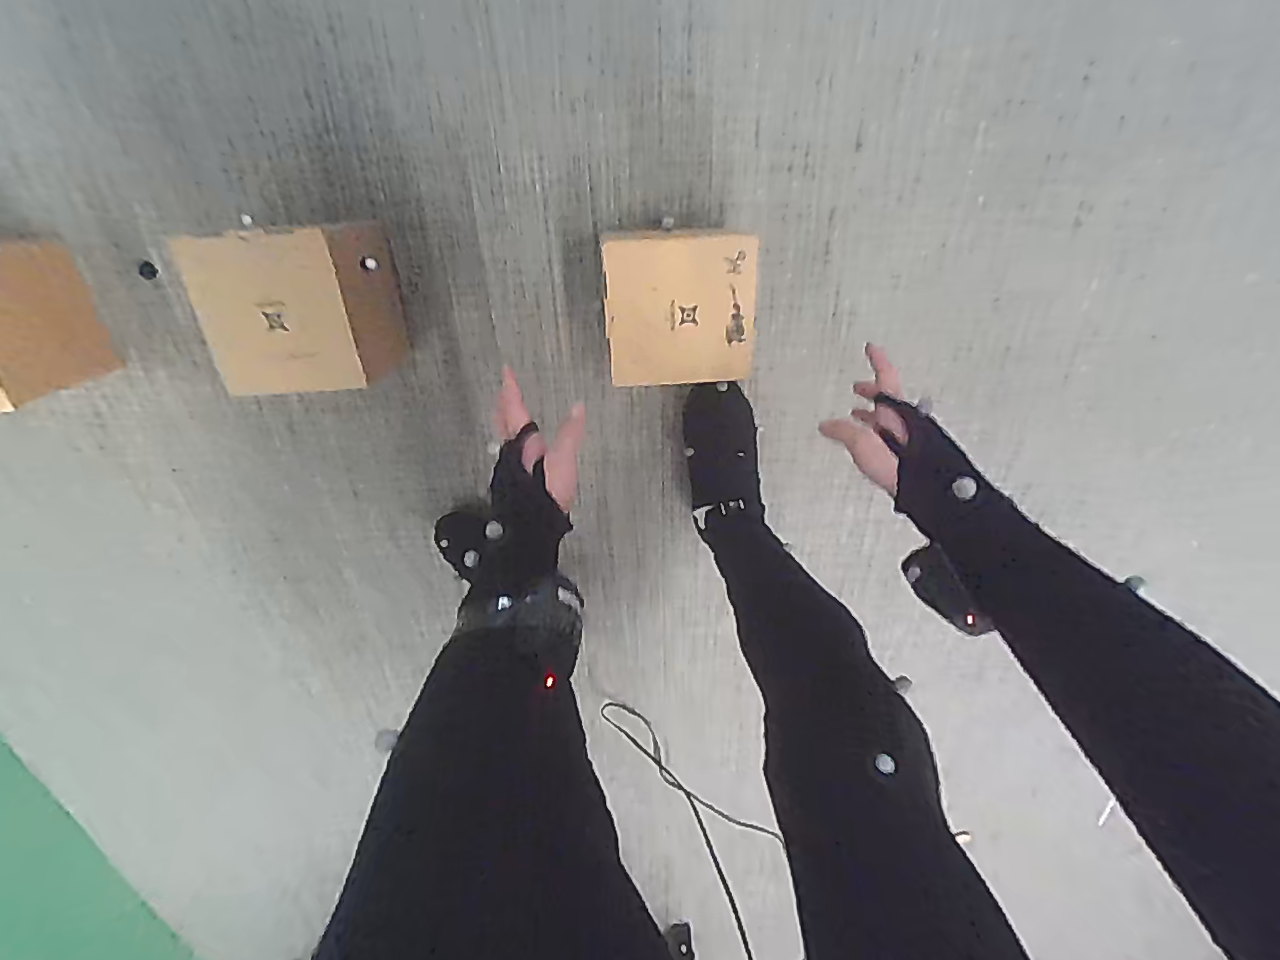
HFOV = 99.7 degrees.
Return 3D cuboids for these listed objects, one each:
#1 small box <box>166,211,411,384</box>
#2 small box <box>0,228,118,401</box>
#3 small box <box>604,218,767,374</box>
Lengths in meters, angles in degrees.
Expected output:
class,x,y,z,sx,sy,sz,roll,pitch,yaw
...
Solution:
class,x,y,z,sx,sy,sz,roll,pitch,yaw
small box,-0.403,-0.228,0.660,0.168,0.176,0.179,-3,117,-1
small box,-0.802,-0.200,0.648,0.168,0.176,0.179,-4,116,-1
small box,0.048,-0.237,0.684,0.179,0.176,0.168,-3,118,-2
